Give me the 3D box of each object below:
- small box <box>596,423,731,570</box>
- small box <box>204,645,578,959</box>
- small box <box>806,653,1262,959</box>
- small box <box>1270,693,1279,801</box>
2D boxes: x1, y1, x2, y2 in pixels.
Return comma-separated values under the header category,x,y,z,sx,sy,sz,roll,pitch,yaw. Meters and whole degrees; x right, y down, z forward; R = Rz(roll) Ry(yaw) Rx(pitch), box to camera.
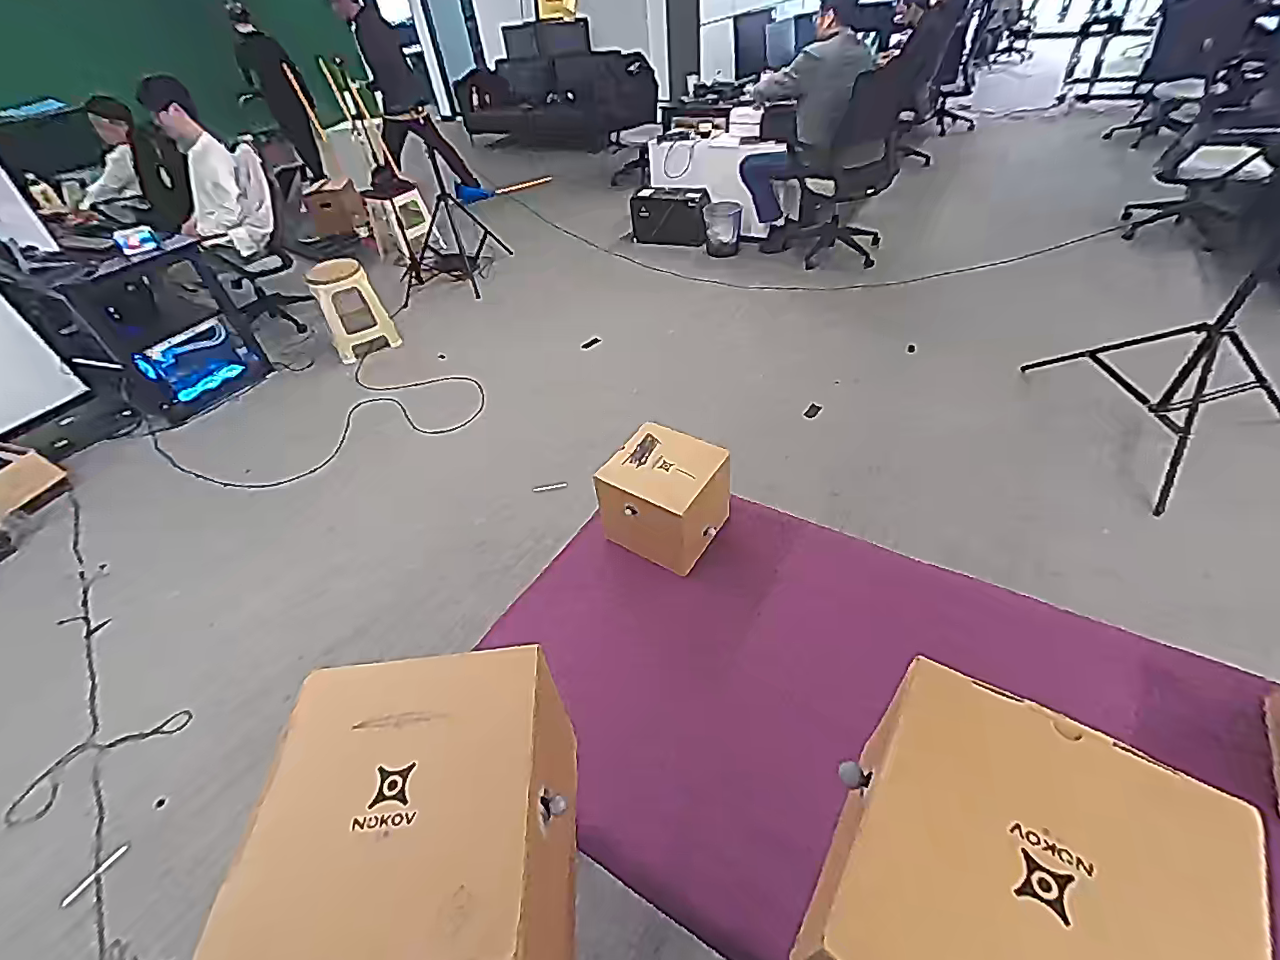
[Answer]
category,x,y,z,sx,sy,sz,roll,pitch,yaw
small box,0.046,0.031,0.962,0.179,0.176,0.168,23,53,26
small box,-0.136,0.243,0.374,0.168,0.176,0.179,-7,42,-1
small box,0.211,0.249,0.327,0.168,0.176,0.179,21,51,27
small box,0.839,0.302,0.574,0.179,0.176,0.168,21,51,26
